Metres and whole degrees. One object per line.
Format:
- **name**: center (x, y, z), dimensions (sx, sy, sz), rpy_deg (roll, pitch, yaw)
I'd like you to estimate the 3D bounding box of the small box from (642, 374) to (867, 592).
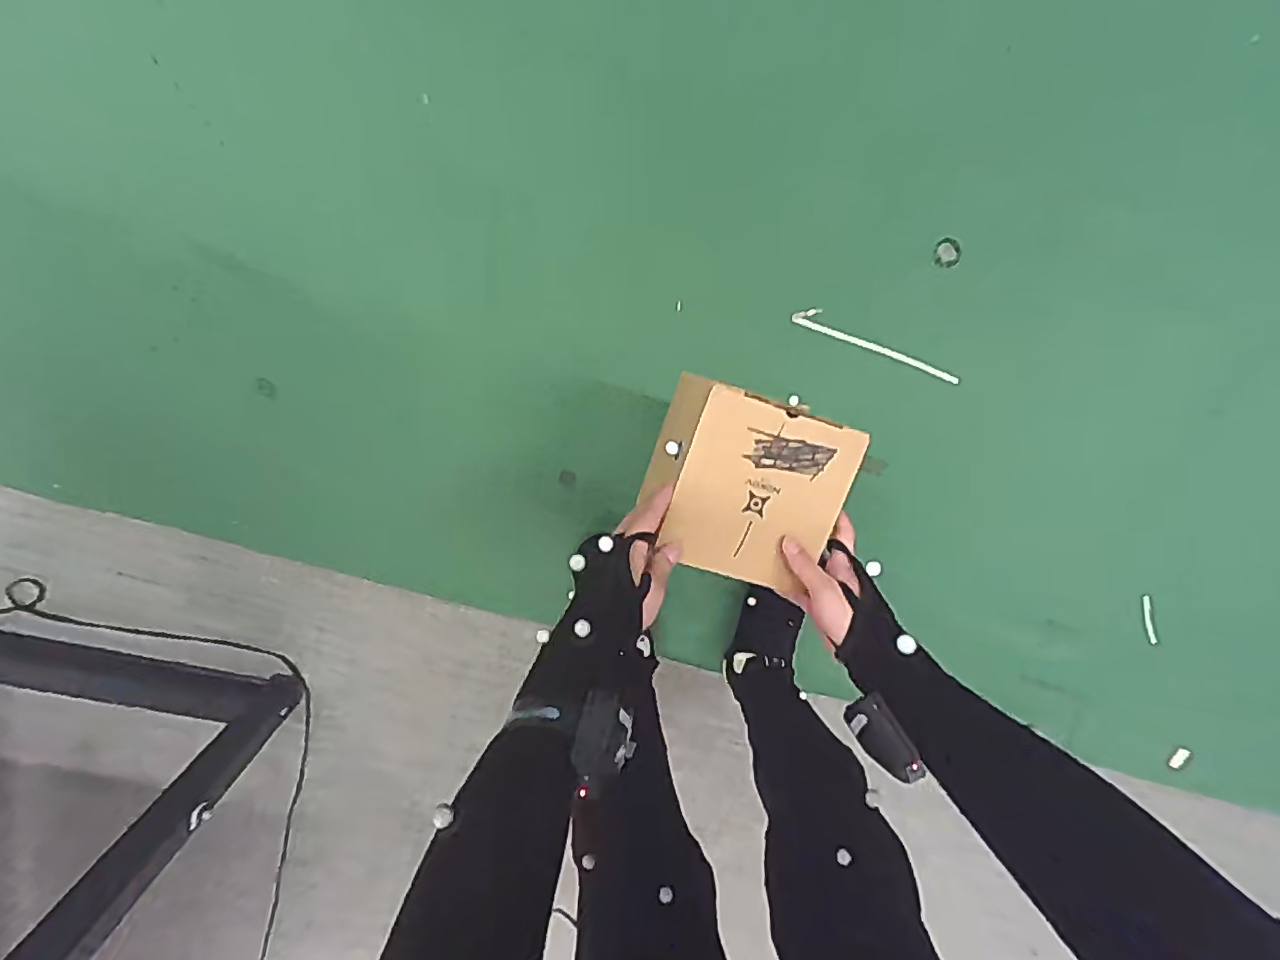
- **small box**: center (0.107, -0.008, 0.597), dimensions (0.168, 0.176, 0.179), rpy_deg (17, 103, -9)
